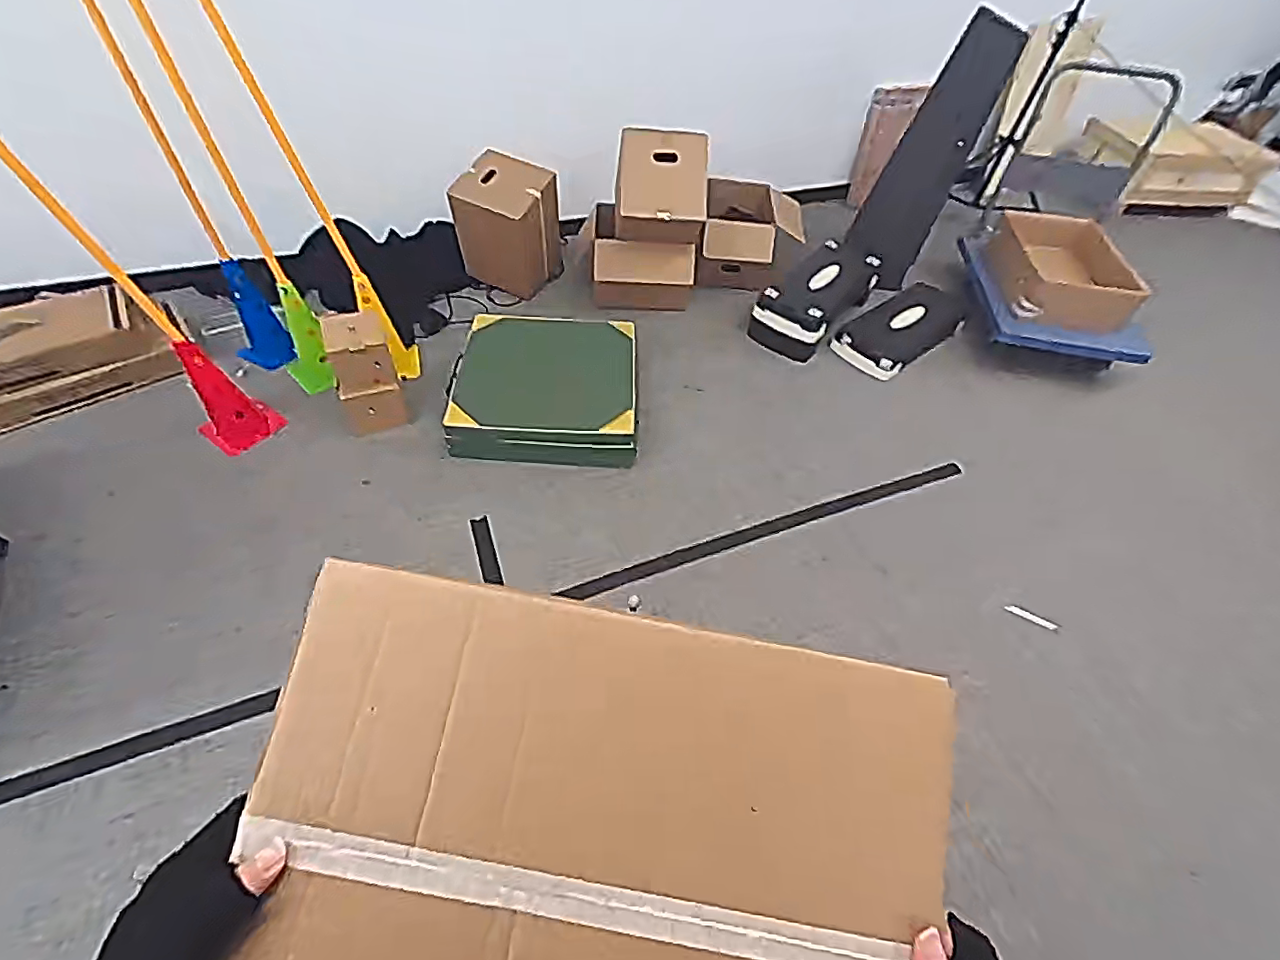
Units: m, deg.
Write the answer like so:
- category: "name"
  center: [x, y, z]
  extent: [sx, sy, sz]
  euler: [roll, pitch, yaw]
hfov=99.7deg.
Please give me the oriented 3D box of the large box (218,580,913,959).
- category: "large box"
  center: [-0.040, 0.276, 0.472]
  extent: [0.408, 0.320, 0.320]
  euler: [10, 76, 1]
